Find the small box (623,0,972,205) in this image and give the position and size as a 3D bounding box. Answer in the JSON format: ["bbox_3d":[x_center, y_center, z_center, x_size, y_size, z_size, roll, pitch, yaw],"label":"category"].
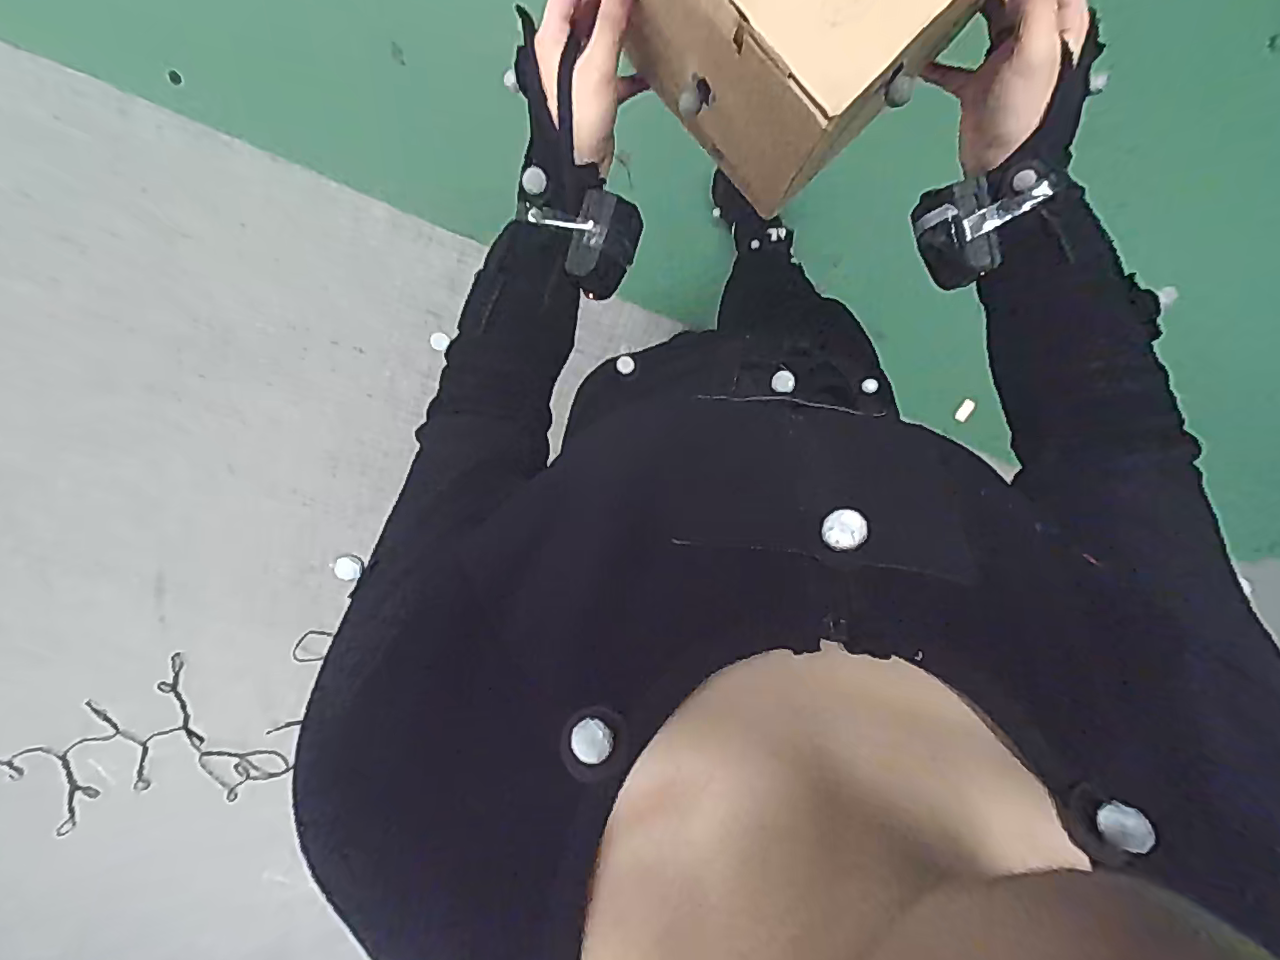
[{"bbox_3d":[0.099,-0.307,0.327,0.179,0.176,0.168,-44,95,11],"label":"small box"}]
